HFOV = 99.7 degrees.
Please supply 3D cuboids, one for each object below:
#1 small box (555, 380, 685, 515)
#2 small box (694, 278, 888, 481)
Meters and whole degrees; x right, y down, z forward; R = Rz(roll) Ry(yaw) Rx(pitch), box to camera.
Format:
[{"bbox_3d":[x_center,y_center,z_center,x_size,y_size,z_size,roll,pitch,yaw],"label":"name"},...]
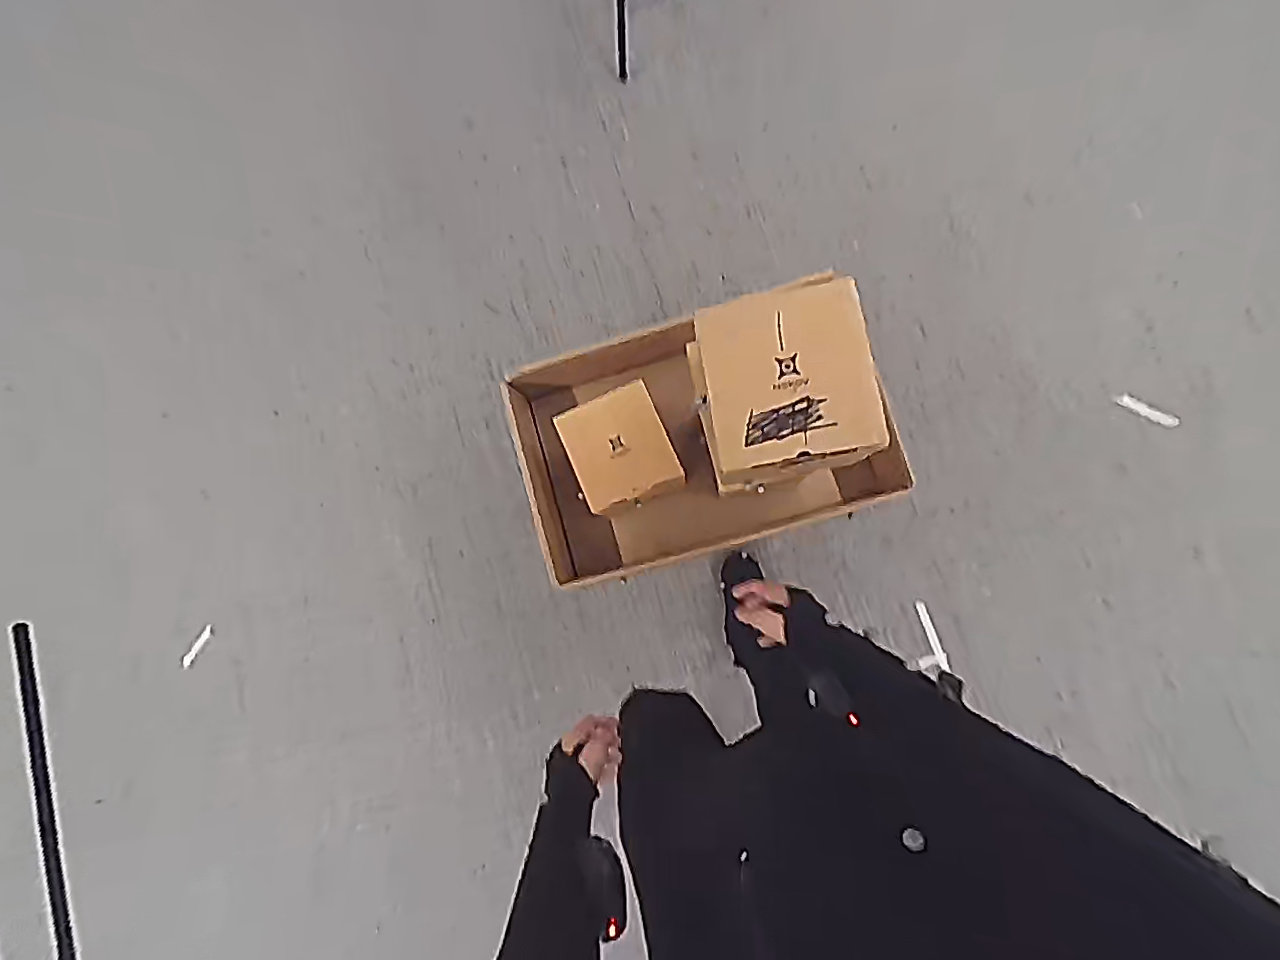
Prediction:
[{"bbox_3d":[-0.030,-0.047,0.960,0.168,0.176,0.179,-24,83,2],"label":"small box"},{"bbox_3d":[0.160,-0.096,0.615,0.168,0.176,0.179,-10,83,7],"label":"small box"}]
